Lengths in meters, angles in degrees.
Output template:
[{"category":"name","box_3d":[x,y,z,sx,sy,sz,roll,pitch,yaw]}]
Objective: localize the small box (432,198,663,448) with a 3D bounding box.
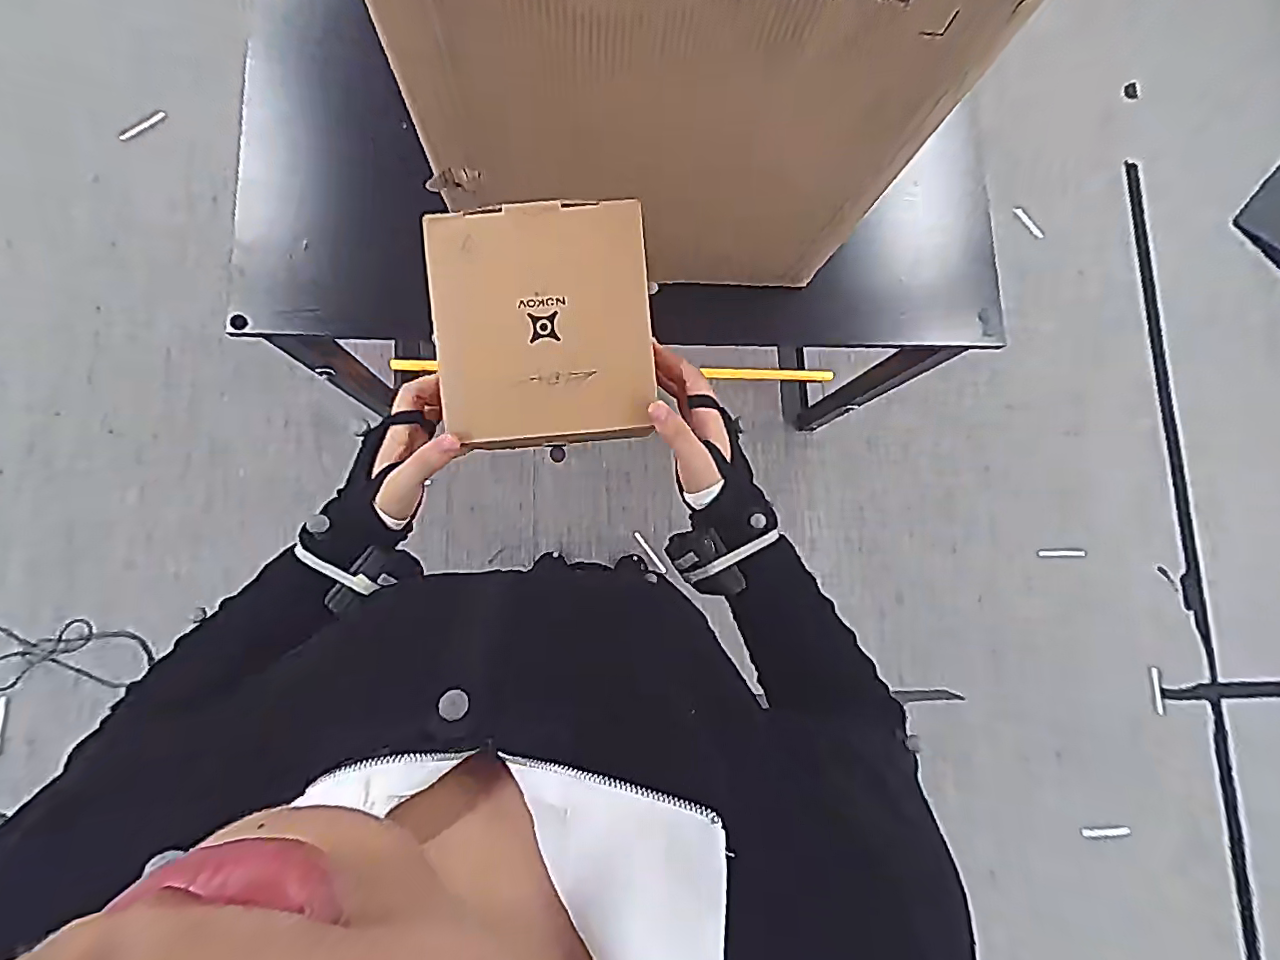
[{"category":"small box","box_3d":[-0.074,-0.126,0.496,0.168,0.176,0.179,-6,92,-2]}]
